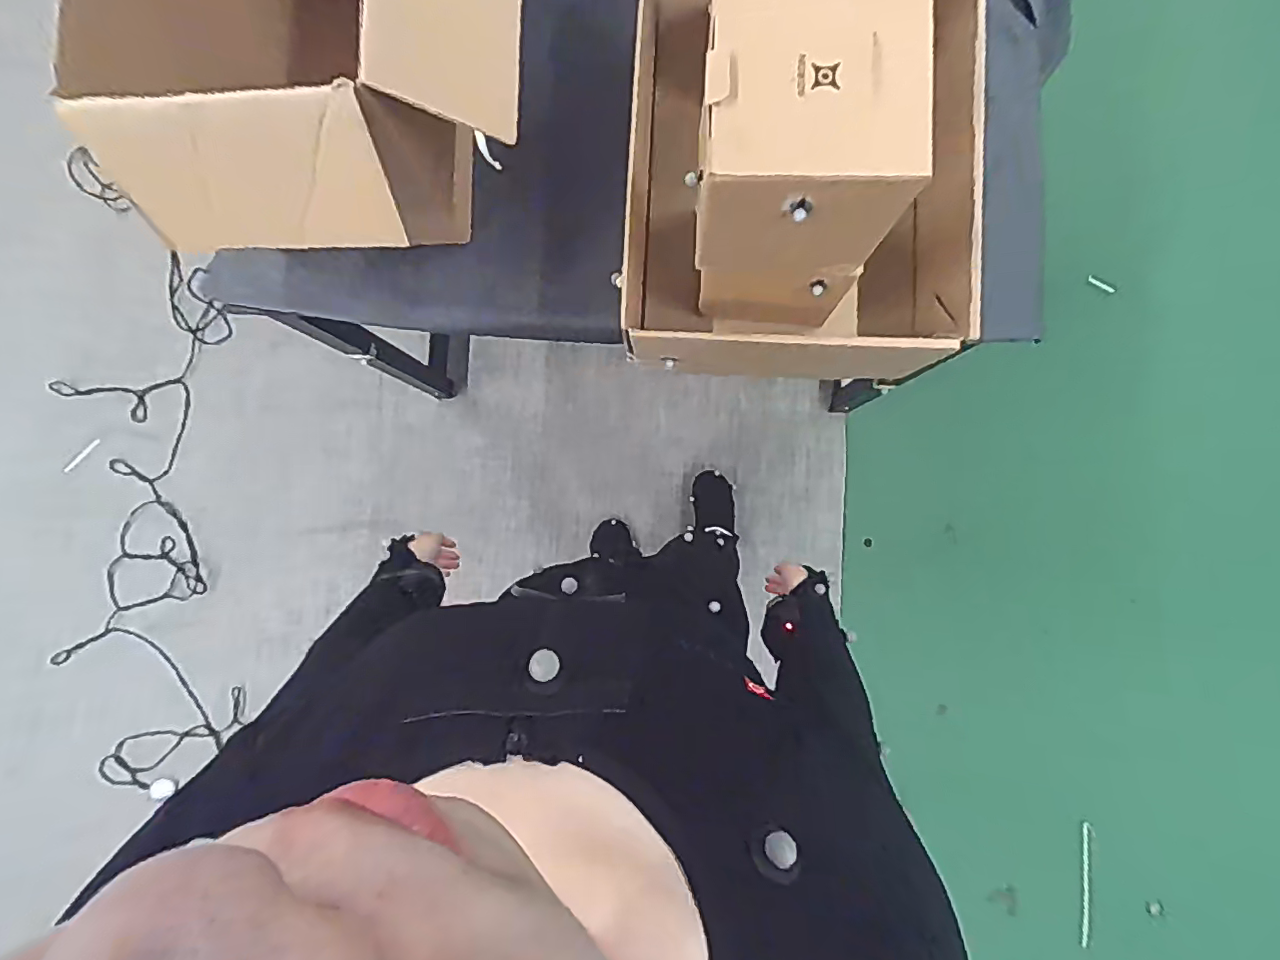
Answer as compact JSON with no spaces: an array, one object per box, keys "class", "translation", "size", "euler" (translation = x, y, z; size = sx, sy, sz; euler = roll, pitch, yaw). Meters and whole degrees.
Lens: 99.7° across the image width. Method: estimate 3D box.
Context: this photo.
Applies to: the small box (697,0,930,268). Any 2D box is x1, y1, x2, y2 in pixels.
[{"class":"small box","translation":[0.147,-0.316,0.513],"size":[0.179,0.176,0.168],"euler":[2,88,2]}]
